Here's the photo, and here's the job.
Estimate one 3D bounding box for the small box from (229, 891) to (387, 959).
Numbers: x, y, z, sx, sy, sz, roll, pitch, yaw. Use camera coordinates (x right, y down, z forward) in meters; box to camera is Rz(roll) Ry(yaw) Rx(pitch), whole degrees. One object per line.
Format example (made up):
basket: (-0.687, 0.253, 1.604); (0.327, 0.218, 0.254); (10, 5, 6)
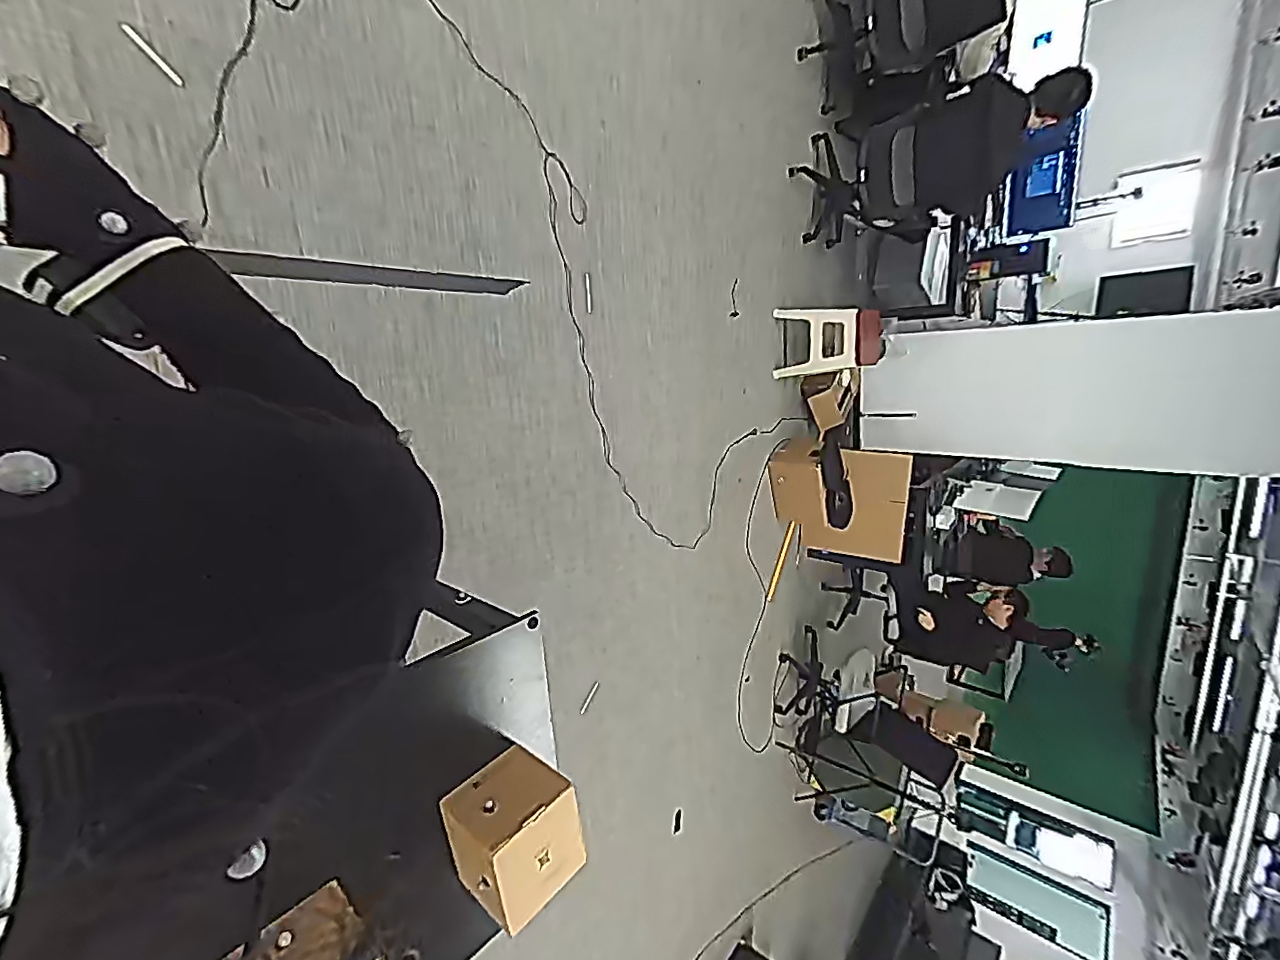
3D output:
small box: (-0.431, 0.705, 0.708); (0.168, 0.176, 0.179); (-20, 110, -46)

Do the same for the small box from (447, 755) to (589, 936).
small box: (-0.214, 0.616, 0.945); (0.168, 0.176, 0.179); (-23, 113, -43)
